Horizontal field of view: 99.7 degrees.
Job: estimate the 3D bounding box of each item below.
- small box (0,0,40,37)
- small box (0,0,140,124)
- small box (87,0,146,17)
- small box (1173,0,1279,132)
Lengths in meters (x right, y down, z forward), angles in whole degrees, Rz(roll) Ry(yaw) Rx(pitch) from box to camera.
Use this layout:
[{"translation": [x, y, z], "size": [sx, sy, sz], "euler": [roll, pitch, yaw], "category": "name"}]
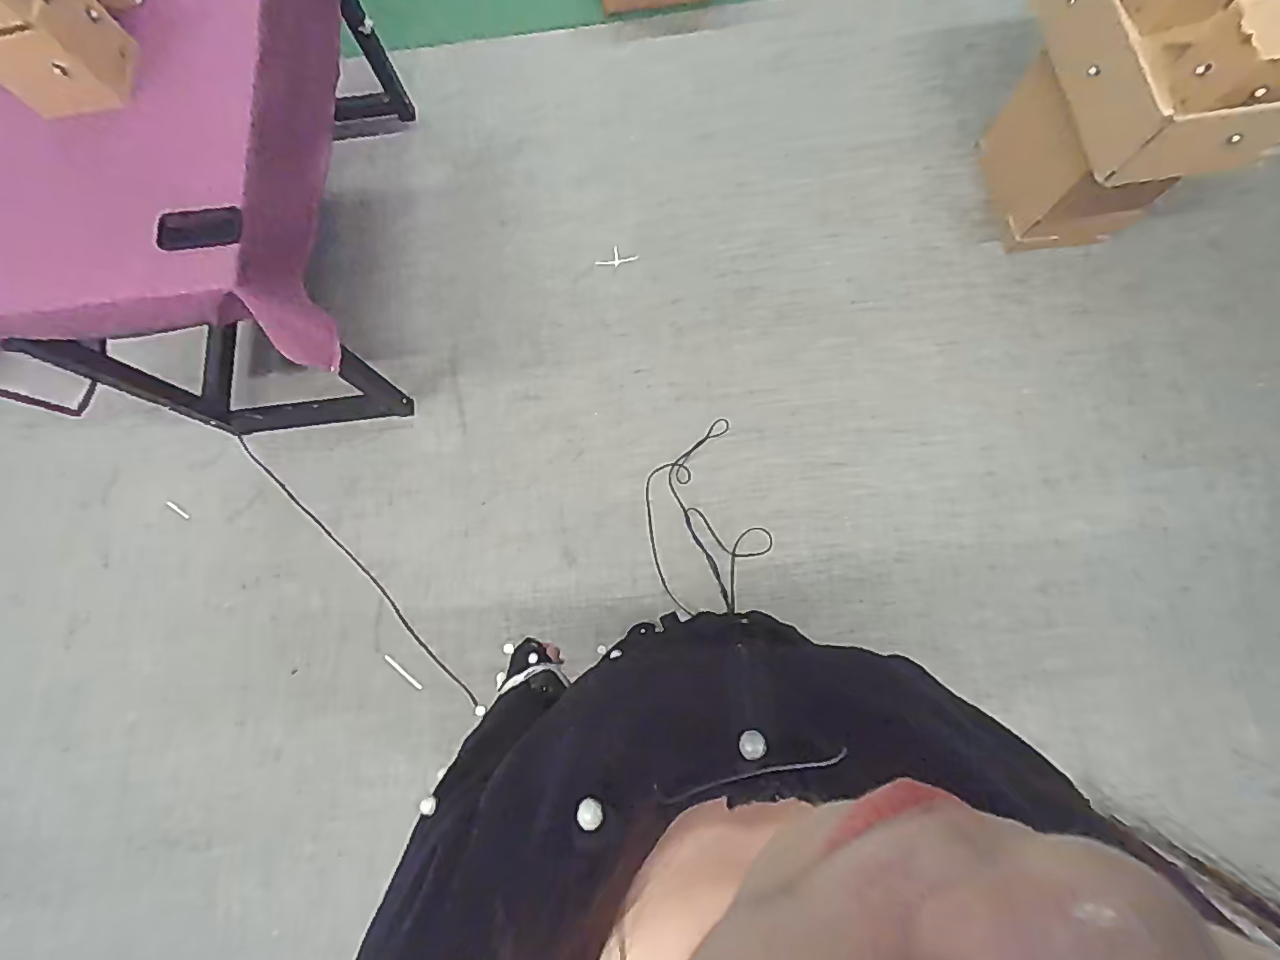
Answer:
[{"translation": [-1.129, -0.845, 0.861], "size": [0.179, 0.176, 0.168], "euler": [-7, 76, 2], "category": "small box"}, {"translation": [-1.110, -0.818, 1.024], "size": [0.179, 0.176, 0.168], "euler": [-7, 76, 2], "category": "small box"}, {"translation": [-1.145, -1.073, 1.086], "size": [0.179, 0.176, 0.168], "euler": [-6, 76, 1], "category": "small box"}, {"translation": [1.300, -0.877, 1.154], "size": [0.179, 0.176, 0.168], "euler": [0, 77, 5], "category": "small box"}]
